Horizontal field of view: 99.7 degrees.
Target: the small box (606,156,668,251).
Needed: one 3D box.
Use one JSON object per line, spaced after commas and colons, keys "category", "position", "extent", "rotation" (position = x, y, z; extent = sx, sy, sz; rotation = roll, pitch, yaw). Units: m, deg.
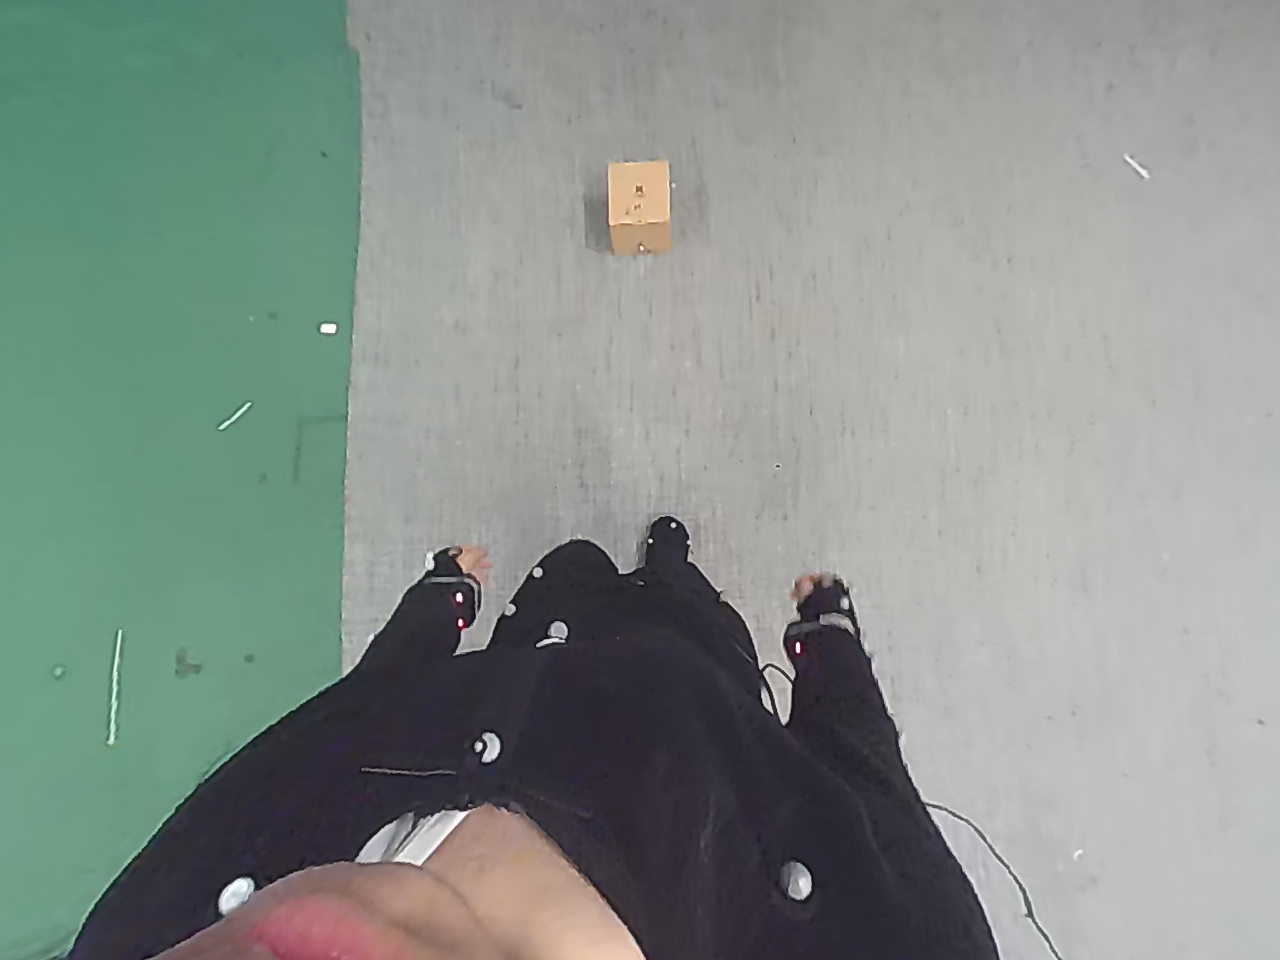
{"category": "small box", "position": [-0.005, -0.763, 1.504], "extent": [0.168, 0.176, 0.179], "rotation": [-1, 86, 3]}
